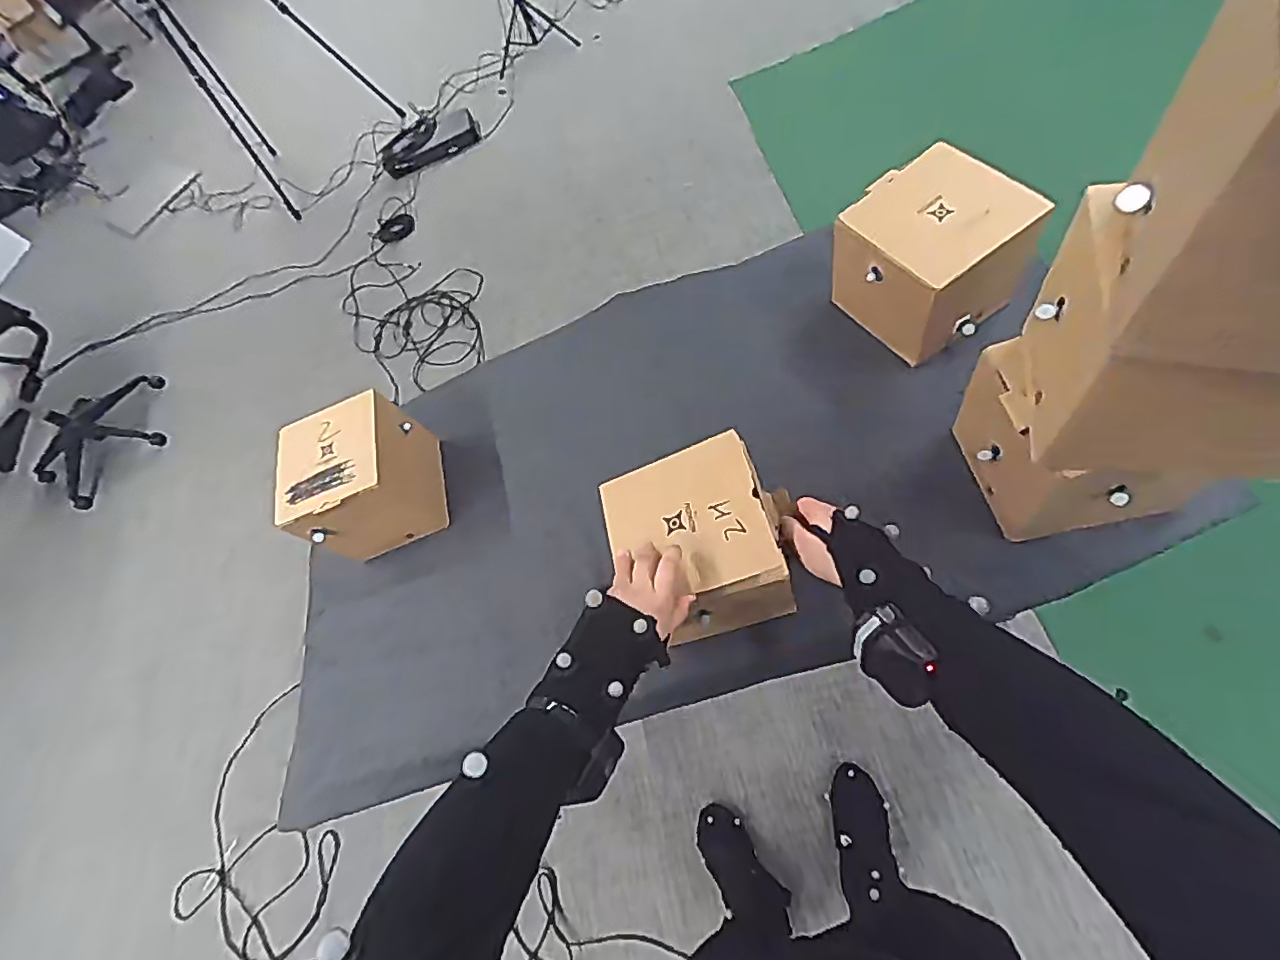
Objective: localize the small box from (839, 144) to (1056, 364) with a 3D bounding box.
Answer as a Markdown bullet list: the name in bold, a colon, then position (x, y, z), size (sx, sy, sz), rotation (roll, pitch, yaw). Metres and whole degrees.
- **small box**: position (0.384, -0.290, 0.719), size (0.168, 0.176, 0.179), rotation (-35, 62, 2)

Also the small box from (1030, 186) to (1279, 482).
- **small box**: position (0.434, -0.110, 0.429), size (0.179, 0.176, 0.168), rotation (6, 65, 20)

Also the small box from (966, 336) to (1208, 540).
- **small box**: position (0.475, -0.050, 0.576), size (0.179, 0.176, 0.168), rotation (-14, 60, 12)

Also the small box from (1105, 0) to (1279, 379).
- **small box**: position (0.391, -0.162, 0.277), size (0.179, 0.176, 0.168), rotation (15, 69, 25)

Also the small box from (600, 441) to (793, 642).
- **small box**: position (0.072, 0.084, 0.644), size (0.179, 0.176, 0.168), rotation (-18, 62, 10)
